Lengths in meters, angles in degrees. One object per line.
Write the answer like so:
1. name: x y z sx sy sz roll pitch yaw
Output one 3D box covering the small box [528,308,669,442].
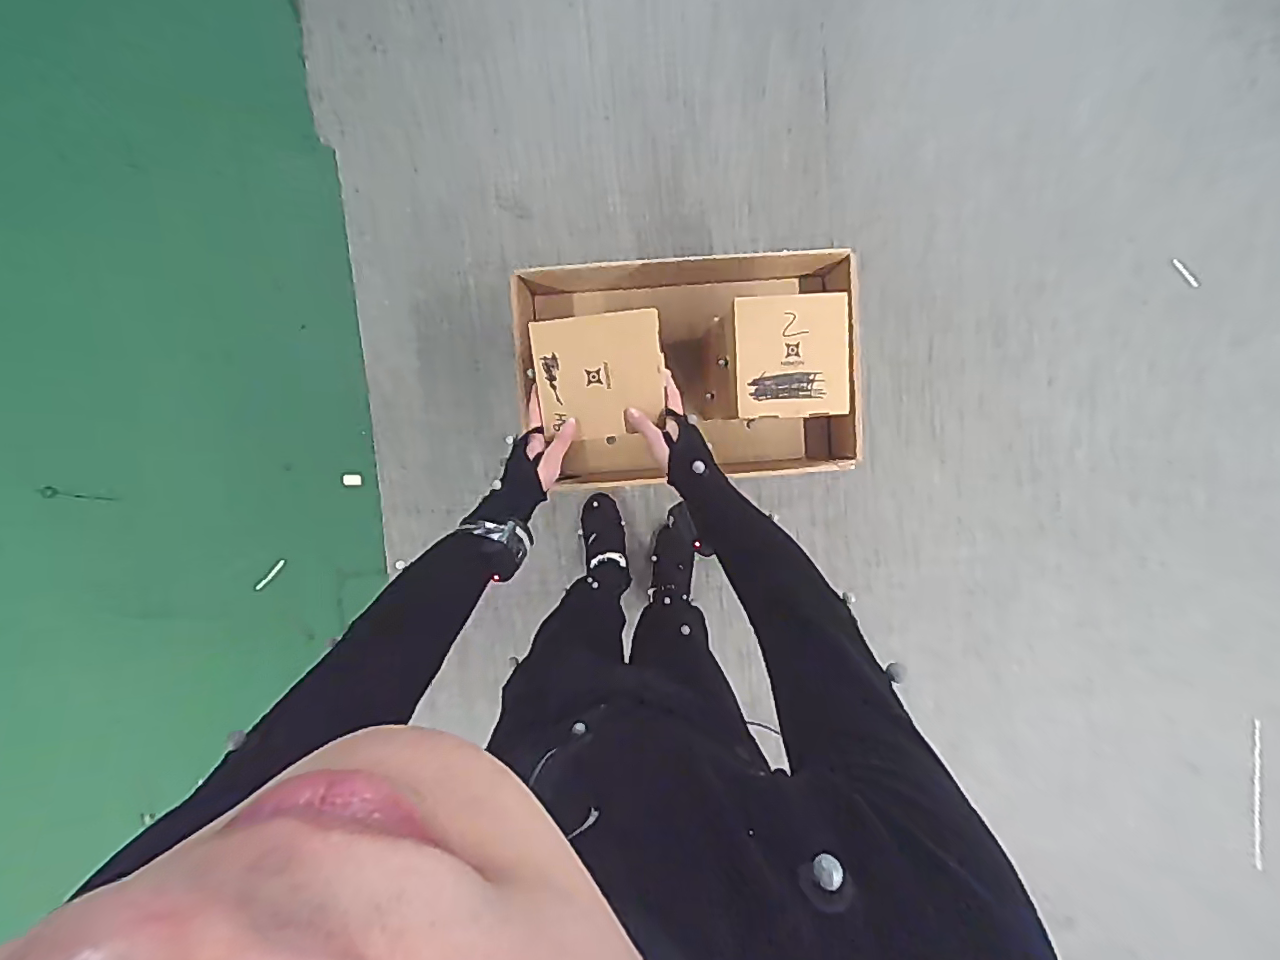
1. small box: -0.058 -0.151 0.803 0.179 0.176 0.168 -7 97 -1
